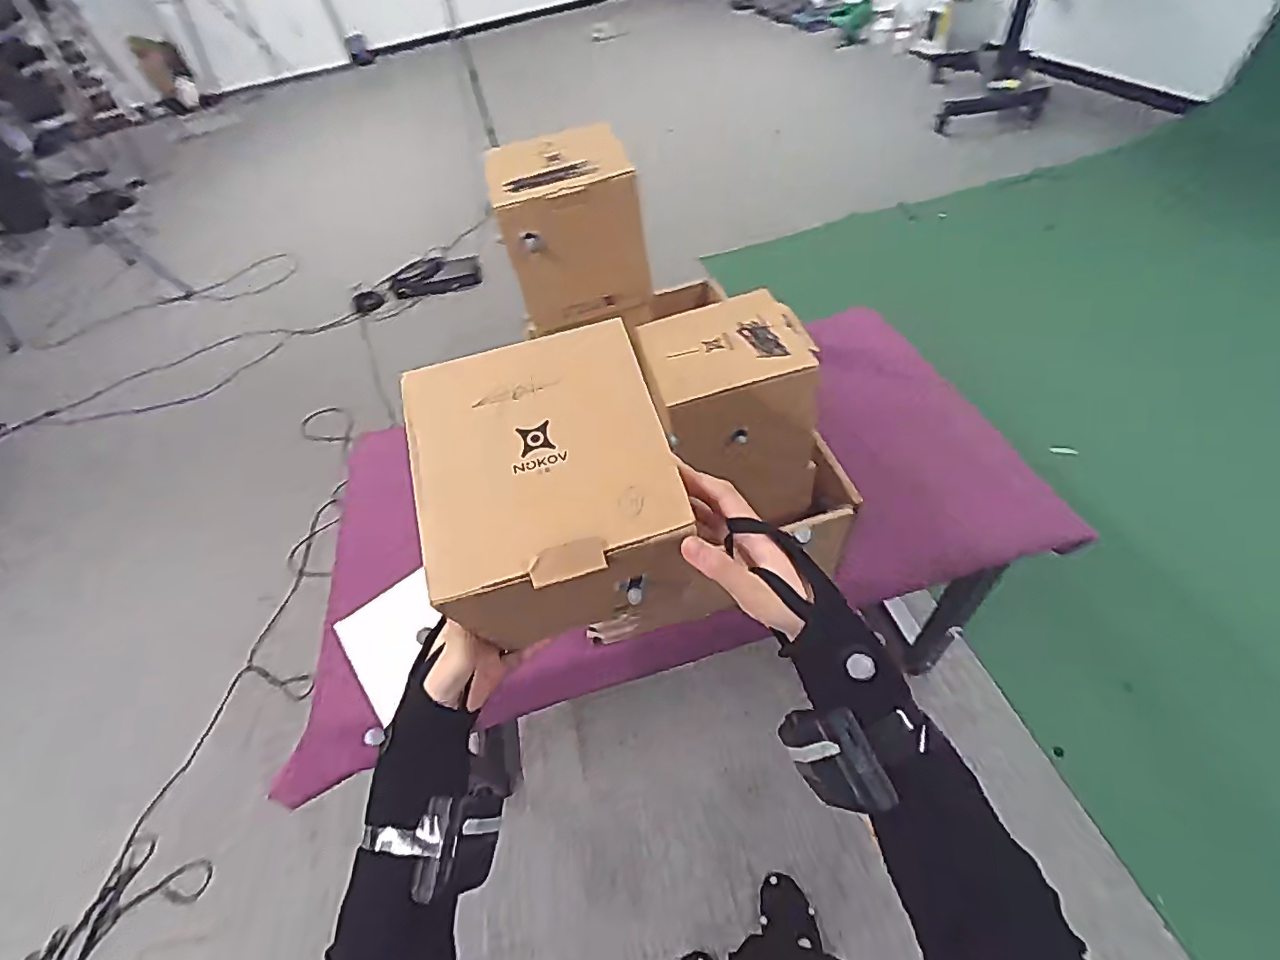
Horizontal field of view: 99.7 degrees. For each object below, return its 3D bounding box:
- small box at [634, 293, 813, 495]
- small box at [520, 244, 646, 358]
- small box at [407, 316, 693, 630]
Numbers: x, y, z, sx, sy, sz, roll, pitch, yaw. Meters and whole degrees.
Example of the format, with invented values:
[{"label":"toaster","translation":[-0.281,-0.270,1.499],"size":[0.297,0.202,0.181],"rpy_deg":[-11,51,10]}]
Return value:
[{"label":"small box","translation":[0.104,-0.107,0.698],"size":[0.179,0.176,0.168],"rpy_deg":[-16,48,0]},{"label":"small box","translation":[-0.078,-0.231,0.845],"size":[0.168,0.176,0.179],"rpy_deg":[-15,51,-2]},{"label":"small box","translation":[-0.062,0.008,0.427],"size":[0.168,0.176,0.179],"rpy_deg":[-15,64,-5]}]
